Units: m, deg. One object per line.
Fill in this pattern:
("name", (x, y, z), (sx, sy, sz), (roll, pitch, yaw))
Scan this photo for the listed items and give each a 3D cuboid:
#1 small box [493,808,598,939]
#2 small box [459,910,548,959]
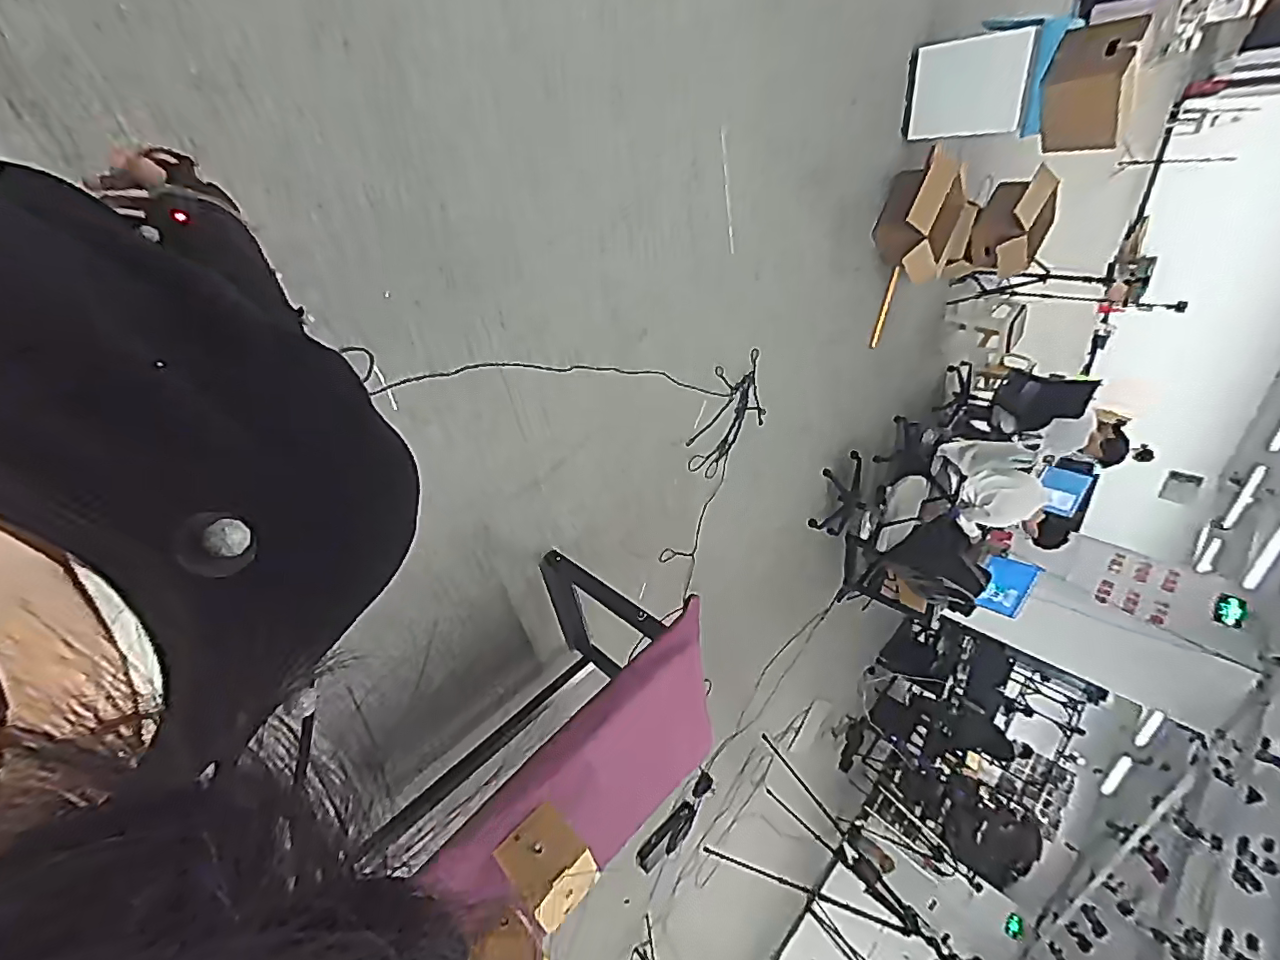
("small box", (-0.230, 0.940, 1.308), (0.168, 0.176, 0.179), (-35, 132, -31))
("small box", (-0.329, 1.223, 1.341), (0.168, 0.176, 0.179), (-37, 133, -30))
